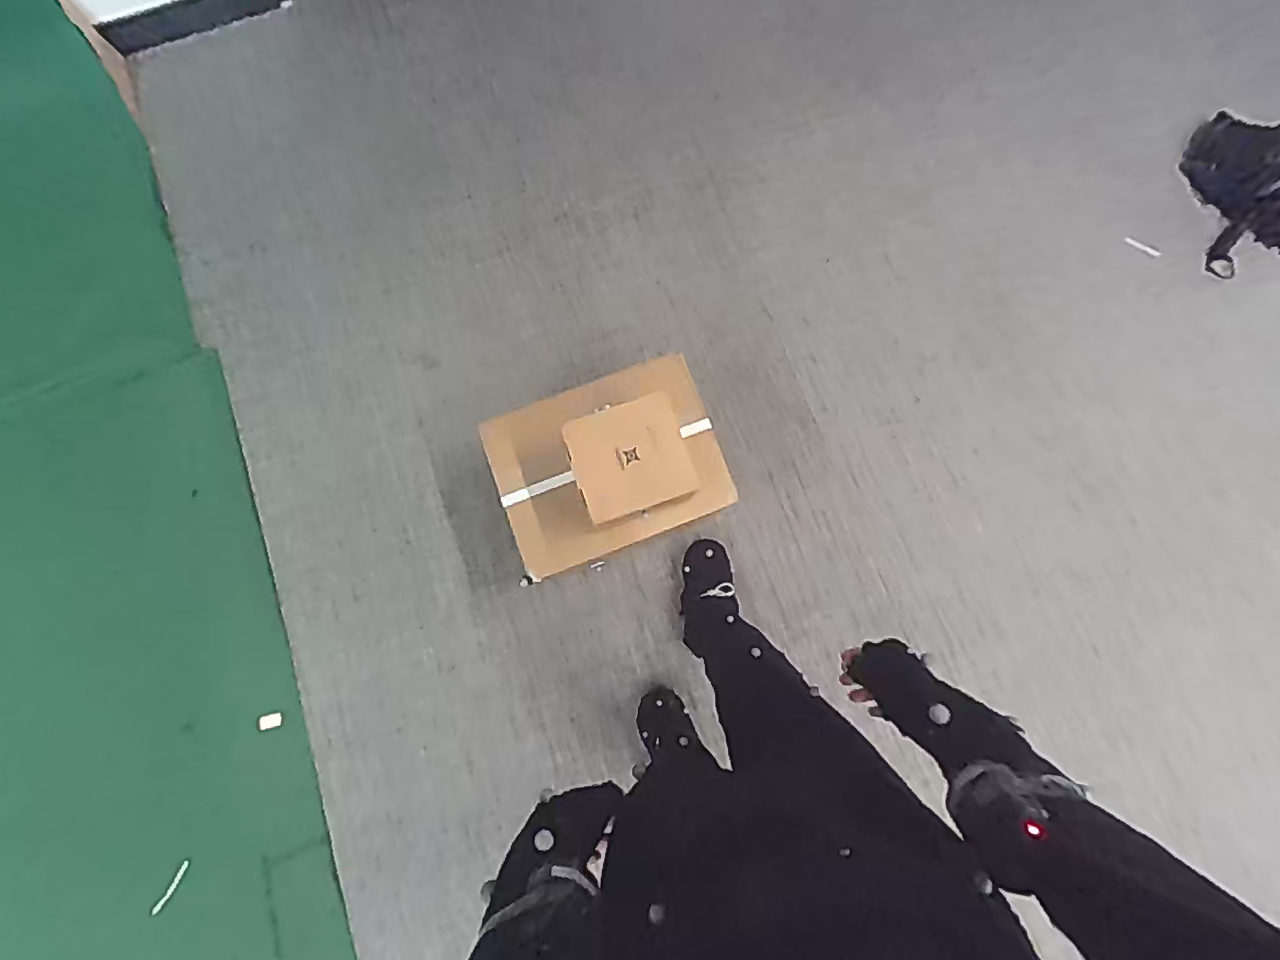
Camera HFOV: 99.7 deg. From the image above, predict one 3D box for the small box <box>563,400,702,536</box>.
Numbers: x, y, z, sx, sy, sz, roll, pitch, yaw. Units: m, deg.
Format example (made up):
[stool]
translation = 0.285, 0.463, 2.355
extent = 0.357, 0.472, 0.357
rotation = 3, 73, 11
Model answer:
[small box]
translation = -0.012, -0.011, 0.902
extent = 0.179, 0.176, 0.168
rotation = -19, 82, -4
